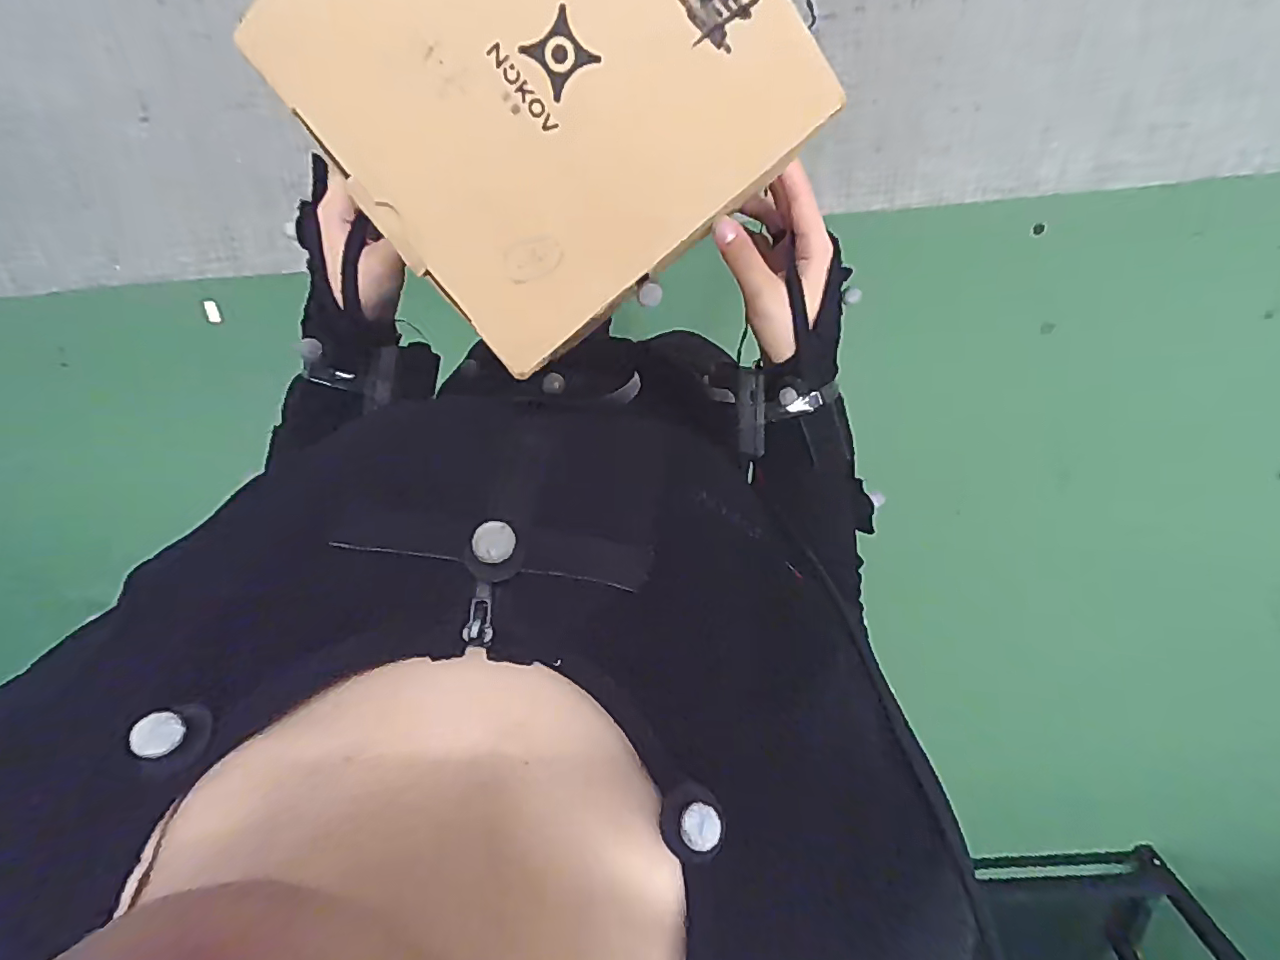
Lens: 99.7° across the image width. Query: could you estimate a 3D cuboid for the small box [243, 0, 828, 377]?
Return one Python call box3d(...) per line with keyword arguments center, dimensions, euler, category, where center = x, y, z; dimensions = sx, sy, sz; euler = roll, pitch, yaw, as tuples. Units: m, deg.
box3d(center=(-0.038, -0.178, 0.287), dimensions=(0.179, 0.176, 0.168), euler=(-36, 103, 12), category="small box")
